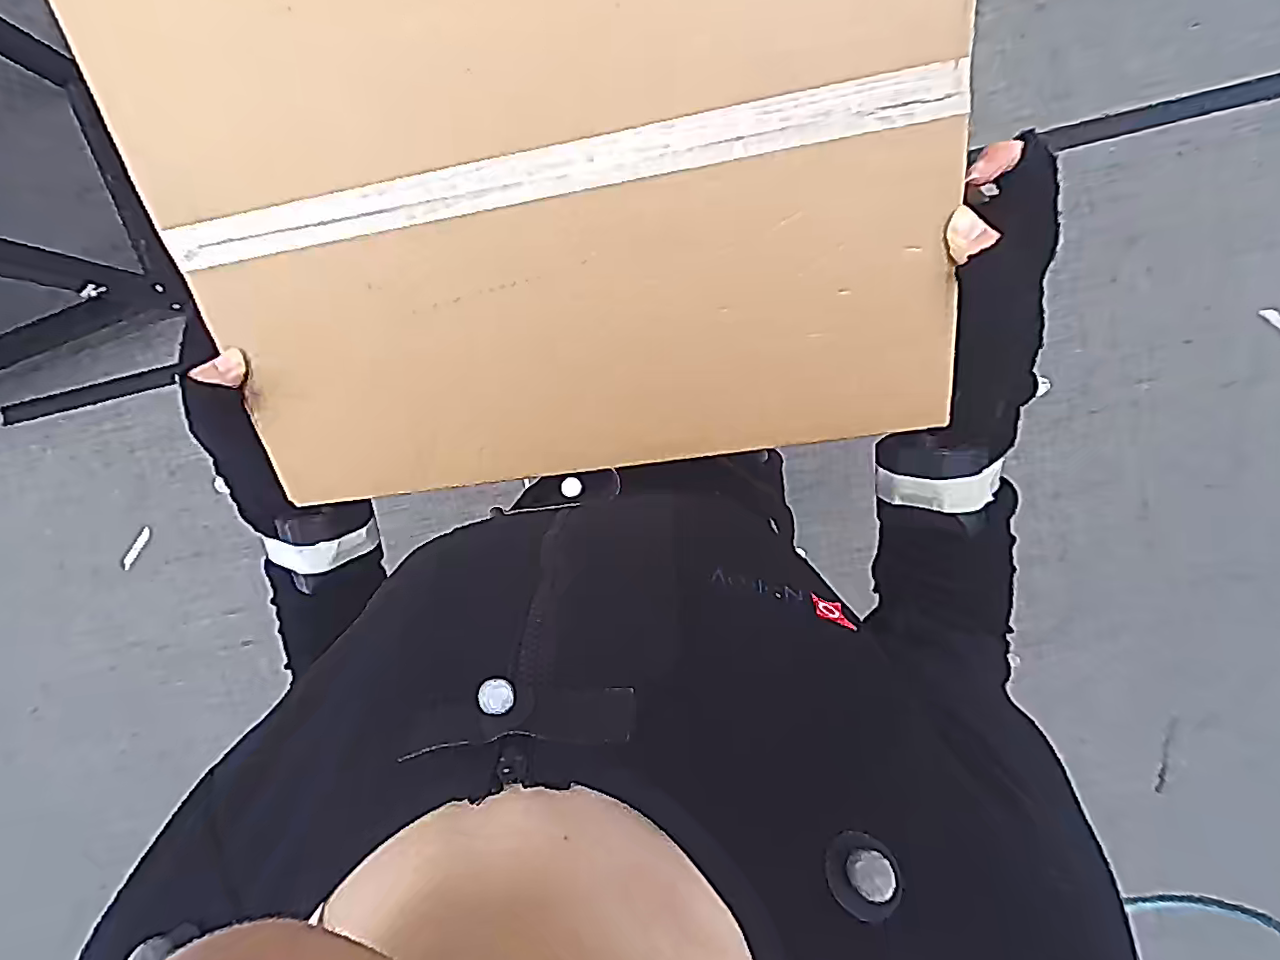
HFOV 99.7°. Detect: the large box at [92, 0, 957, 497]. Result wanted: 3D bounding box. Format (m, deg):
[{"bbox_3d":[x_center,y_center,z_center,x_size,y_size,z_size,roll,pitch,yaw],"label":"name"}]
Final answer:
[{"bbox_3d":[-0.040,-0.211,0.413,0.408,0.320,0.320,-7,114,8],"label":"large box"}]
